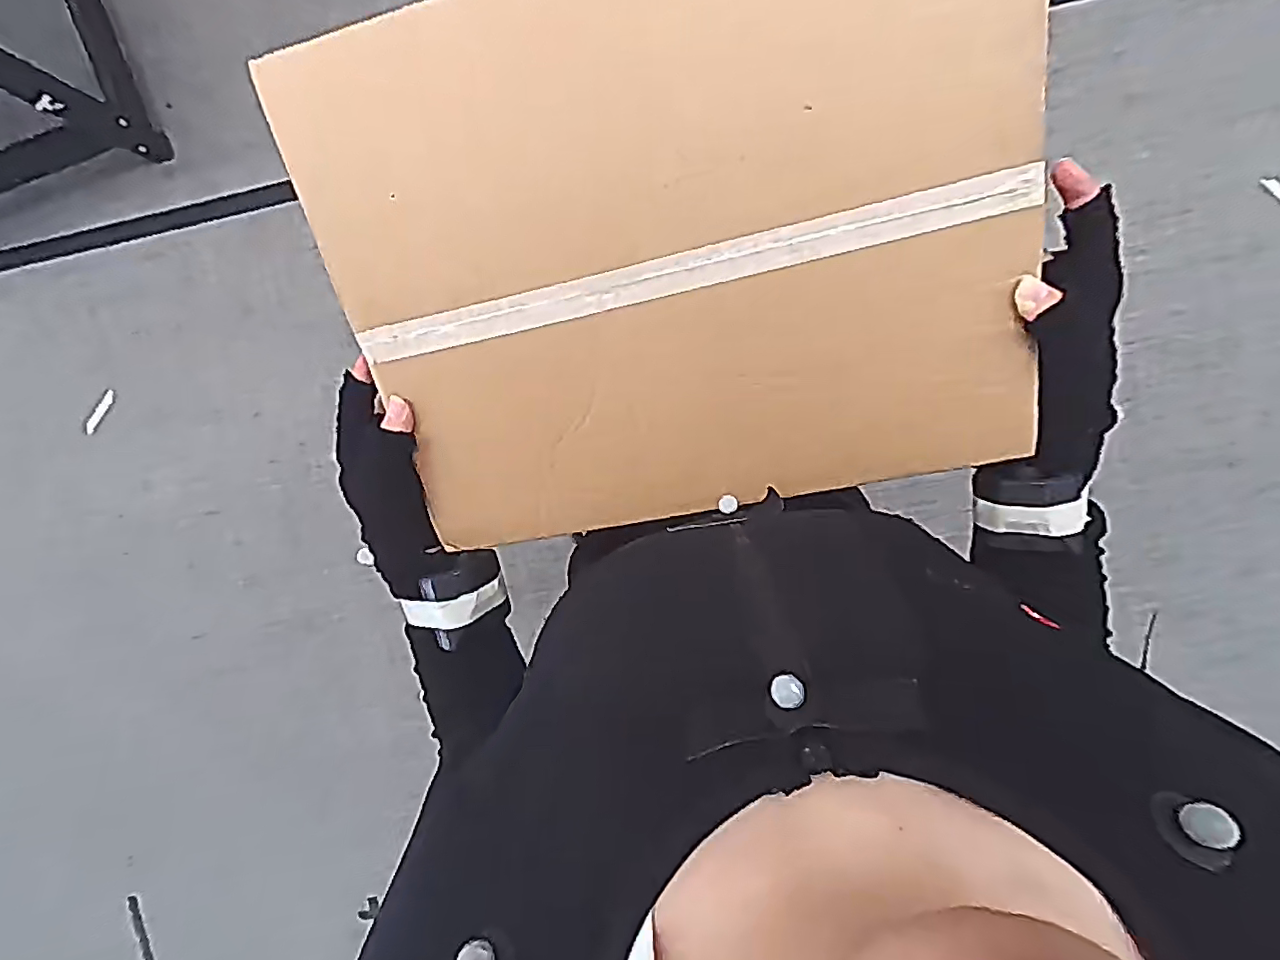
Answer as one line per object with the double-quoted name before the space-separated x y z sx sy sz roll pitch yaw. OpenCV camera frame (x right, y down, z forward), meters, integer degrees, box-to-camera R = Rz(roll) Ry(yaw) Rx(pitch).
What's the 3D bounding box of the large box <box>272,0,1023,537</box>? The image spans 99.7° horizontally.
"large box" 0.028 -0.188 0.464 0.408 0.320 0.320 -10 111 9
